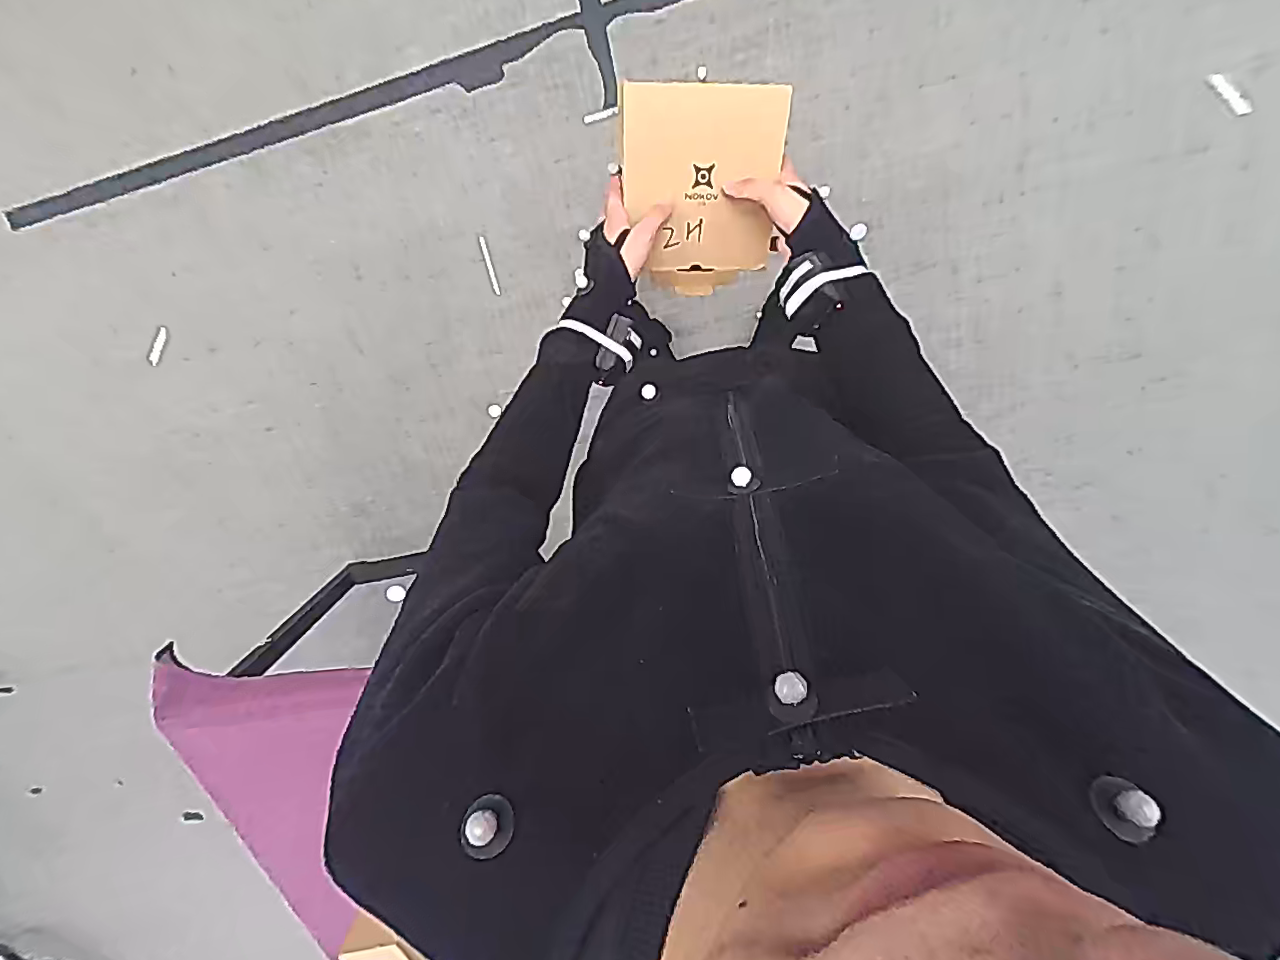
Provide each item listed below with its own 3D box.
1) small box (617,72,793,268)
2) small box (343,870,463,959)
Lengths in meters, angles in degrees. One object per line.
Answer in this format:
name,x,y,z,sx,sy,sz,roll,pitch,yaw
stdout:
small box,0.059,-0.355,0.622,0.168,0.176,0.179,-1,126,-3
small box,-0.562,1.096,1.312,0.168,0.176,0.179,-21,108,12
